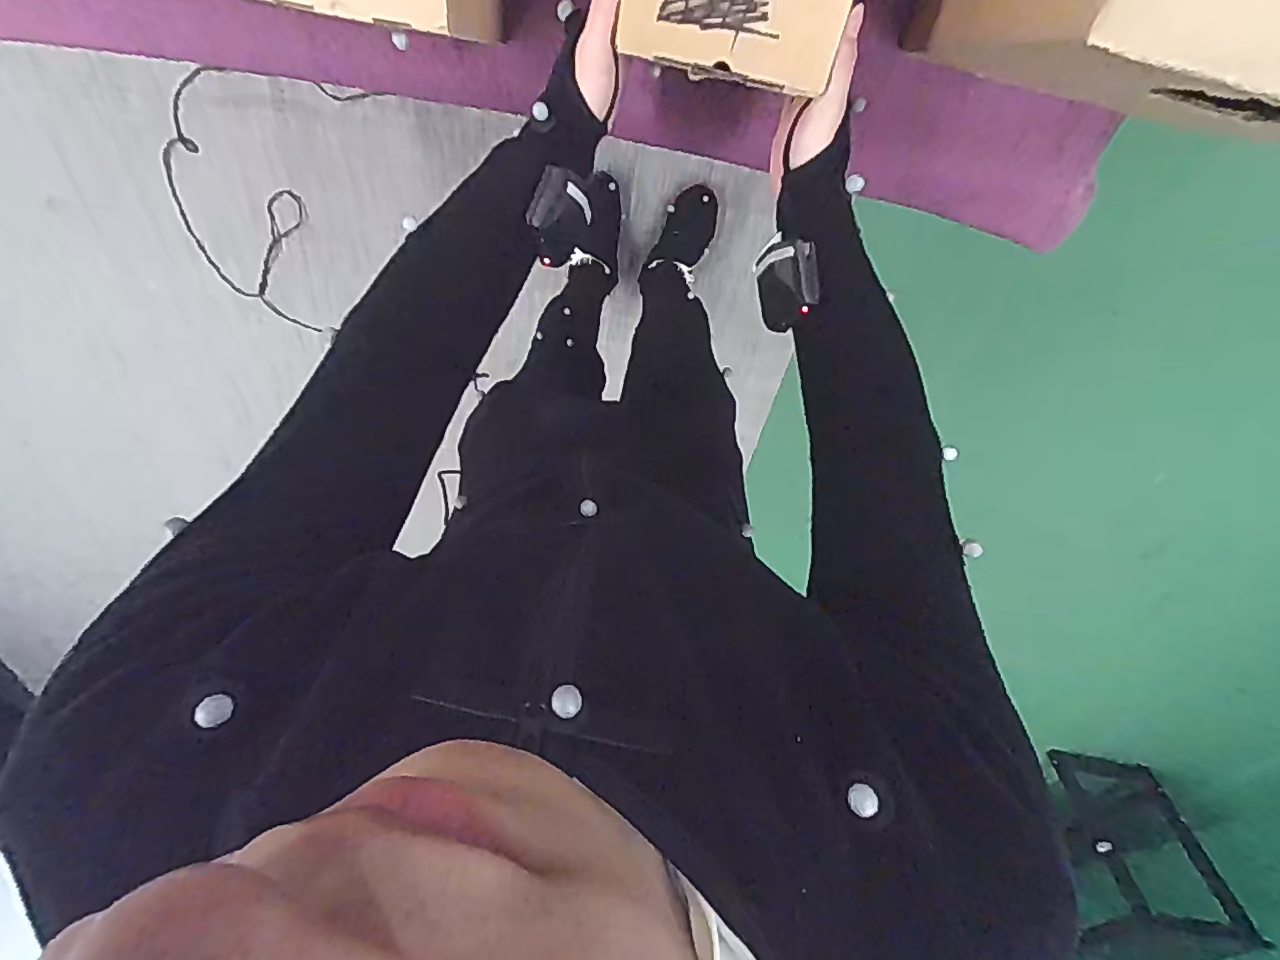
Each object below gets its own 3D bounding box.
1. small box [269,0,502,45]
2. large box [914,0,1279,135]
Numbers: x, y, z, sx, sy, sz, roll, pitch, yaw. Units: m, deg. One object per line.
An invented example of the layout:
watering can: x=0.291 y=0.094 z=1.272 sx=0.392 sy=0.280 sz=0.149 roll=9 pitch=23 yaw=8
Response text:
small box: x=-0.207 y=-0.464 z=0.417 sx=0.168 sy=0.176 sz=0.179 roll=8 pitch=127 yaw=-3
large box: x=0.440 y=-0.457 z=0.306 sx=0.320 sy=0.320 sz=0.408 roll=11 pitch=128 yaw=-4
